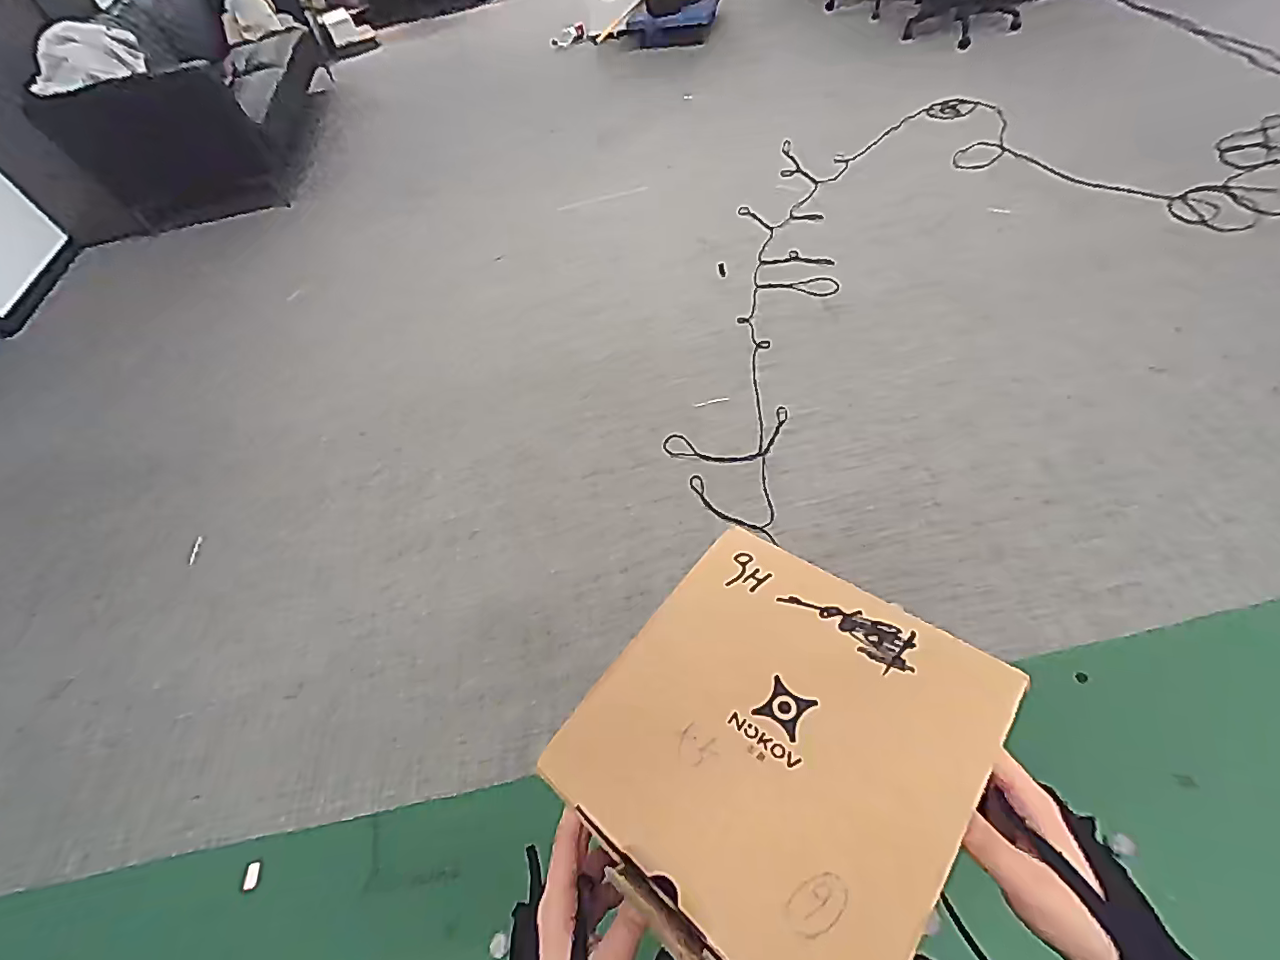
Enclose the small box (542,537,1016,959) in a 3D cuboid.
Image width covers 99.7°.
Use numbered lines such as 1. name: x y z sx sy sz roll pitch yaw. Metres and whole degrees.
1. small box: 0.080 0.174 0.320 0.168 0.176 0.179 27 61 33
